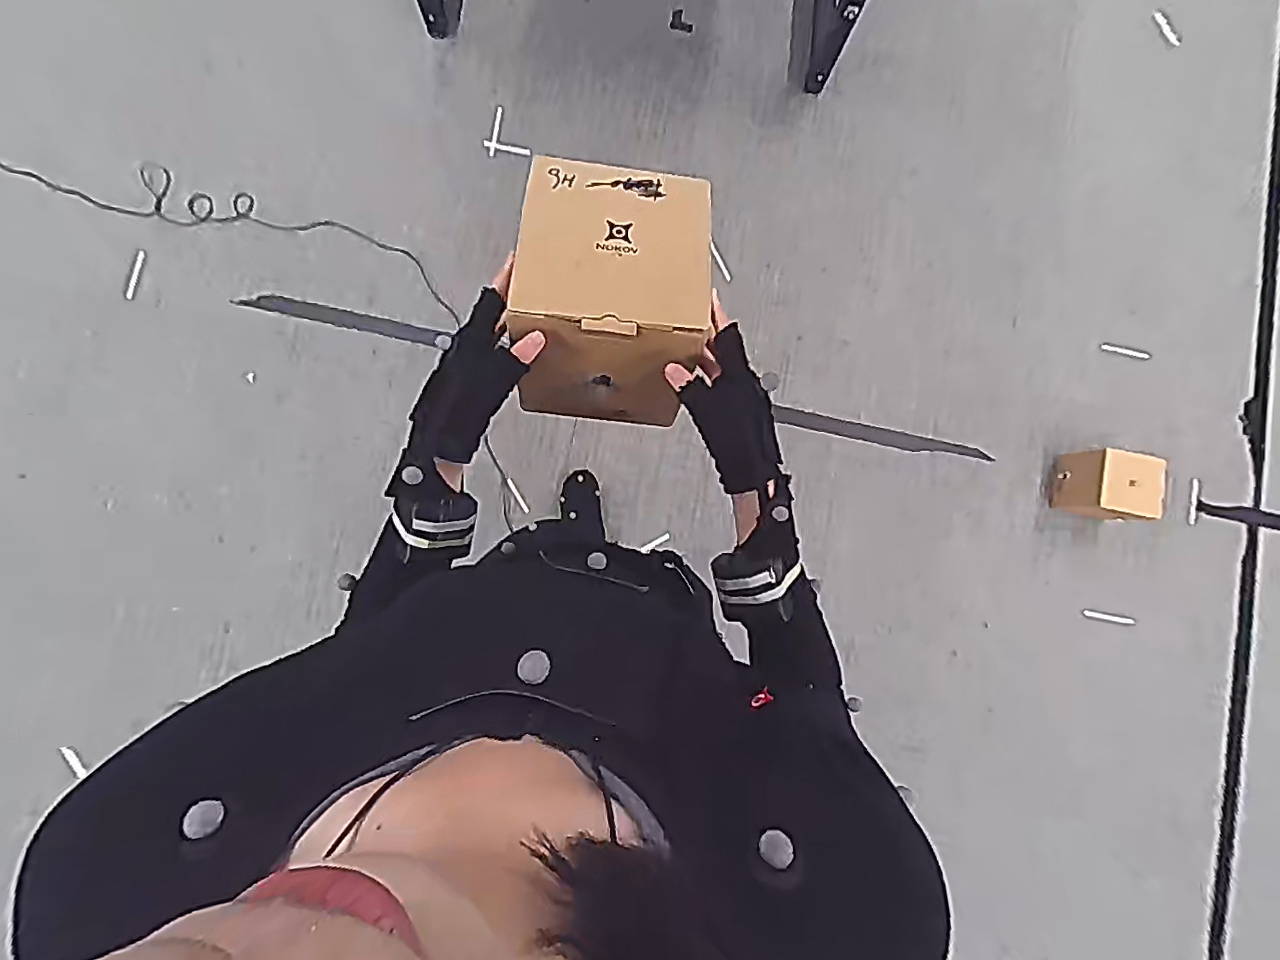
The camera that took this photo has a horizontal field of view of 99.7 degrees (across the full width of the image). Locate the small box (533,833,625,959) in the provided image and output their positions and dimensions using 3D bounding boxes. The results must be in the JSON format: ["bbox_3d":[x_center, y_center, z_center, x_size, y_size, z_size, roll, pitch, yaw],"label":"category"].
[{"bbox_3d":[-0.148,1.043,1.357,0.168,0.176,0.179,-28,87,-6],"label":"small box"}]

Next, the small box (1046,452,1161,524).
[{"bbox_3d":[1.305,0.027,1.529,0.179,0.176,0.168,11,84,-2],"label":"small box"}]

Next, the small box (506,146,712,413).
[{"bbox_3d":[-0.029,-0.182,0.532,0.168,0.176,0.179,5,69,-5],"label":"small box"}]
